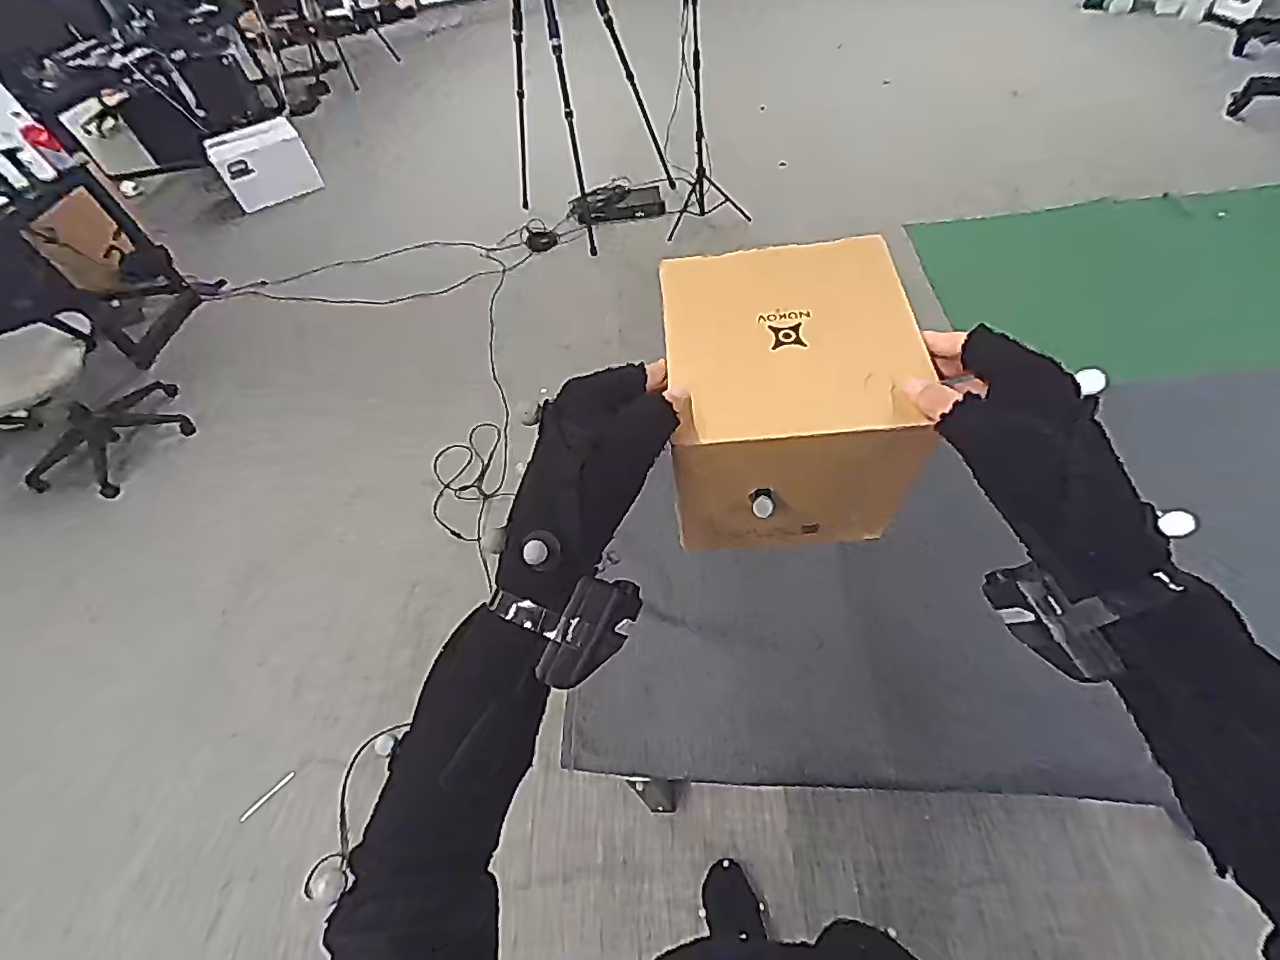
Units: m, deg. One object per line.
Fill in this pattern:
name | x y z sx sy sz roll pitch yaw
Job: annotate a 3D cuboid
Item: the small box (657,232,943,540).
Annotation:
small box | 0.106 -0.060 0.429 0.168 0.176 0.179 -5 59 6
